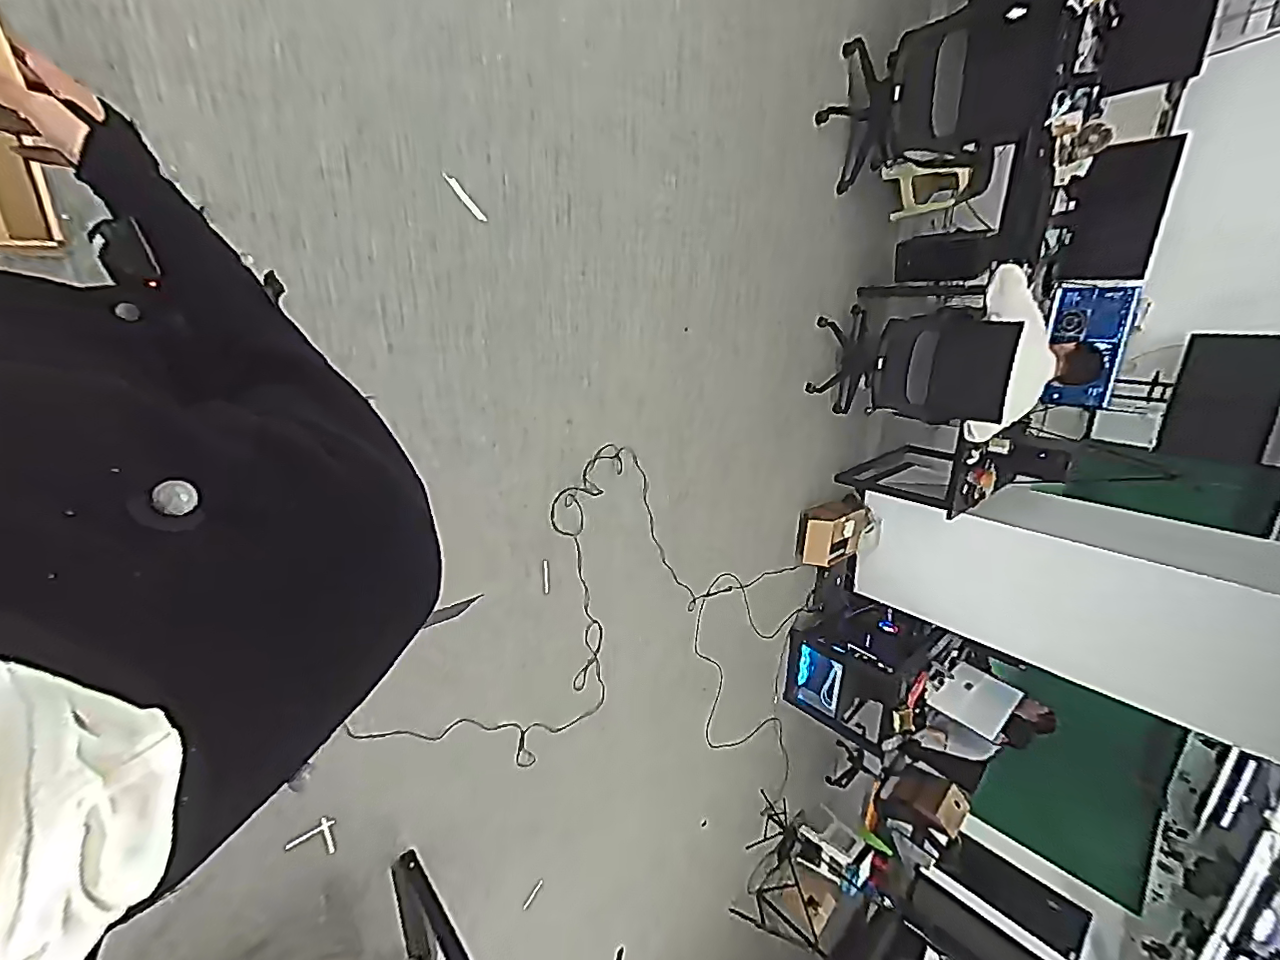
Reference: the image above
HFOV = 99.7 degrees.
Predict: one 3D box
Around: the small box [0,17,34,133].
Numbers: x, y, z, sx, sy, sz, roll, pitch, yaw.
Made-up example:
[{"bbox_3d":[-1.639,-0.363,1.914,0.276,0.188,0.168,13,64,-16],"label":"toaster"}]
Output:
[{"bbox_3d":[-0.623,-0.382,0.406,0.168,0.176,0.179,-30,125,-45],"label":"small box"}]
